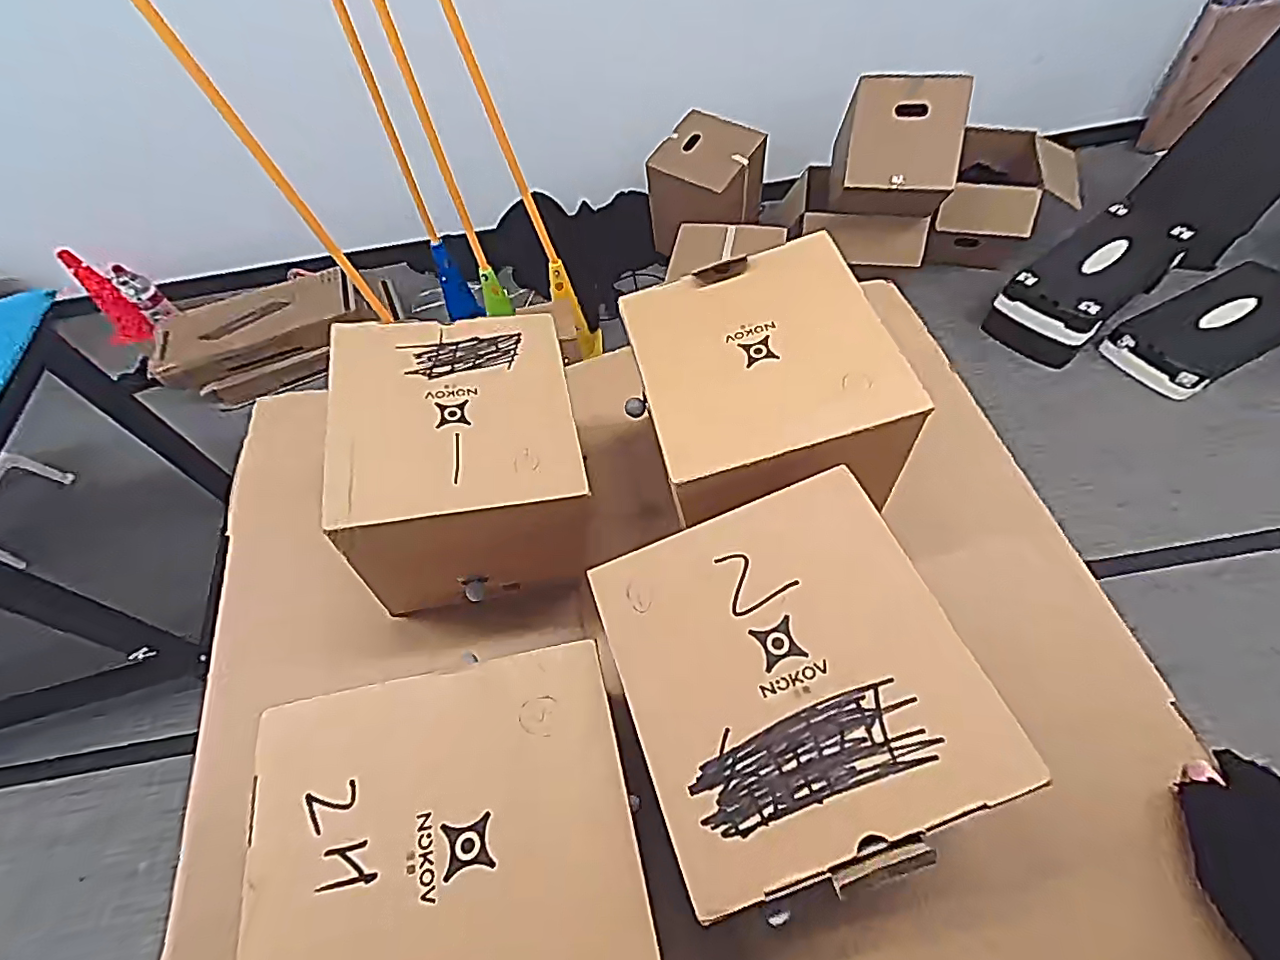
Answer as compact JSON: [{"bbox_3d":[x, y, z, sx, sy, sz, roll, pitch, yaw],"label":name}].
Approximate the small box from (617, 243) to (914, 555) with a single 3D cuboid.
[{"bbox_3d":[0.093,-0.052,0.449,0.168,0.176,0.179,-17,59,3],"label":"small box"}]
